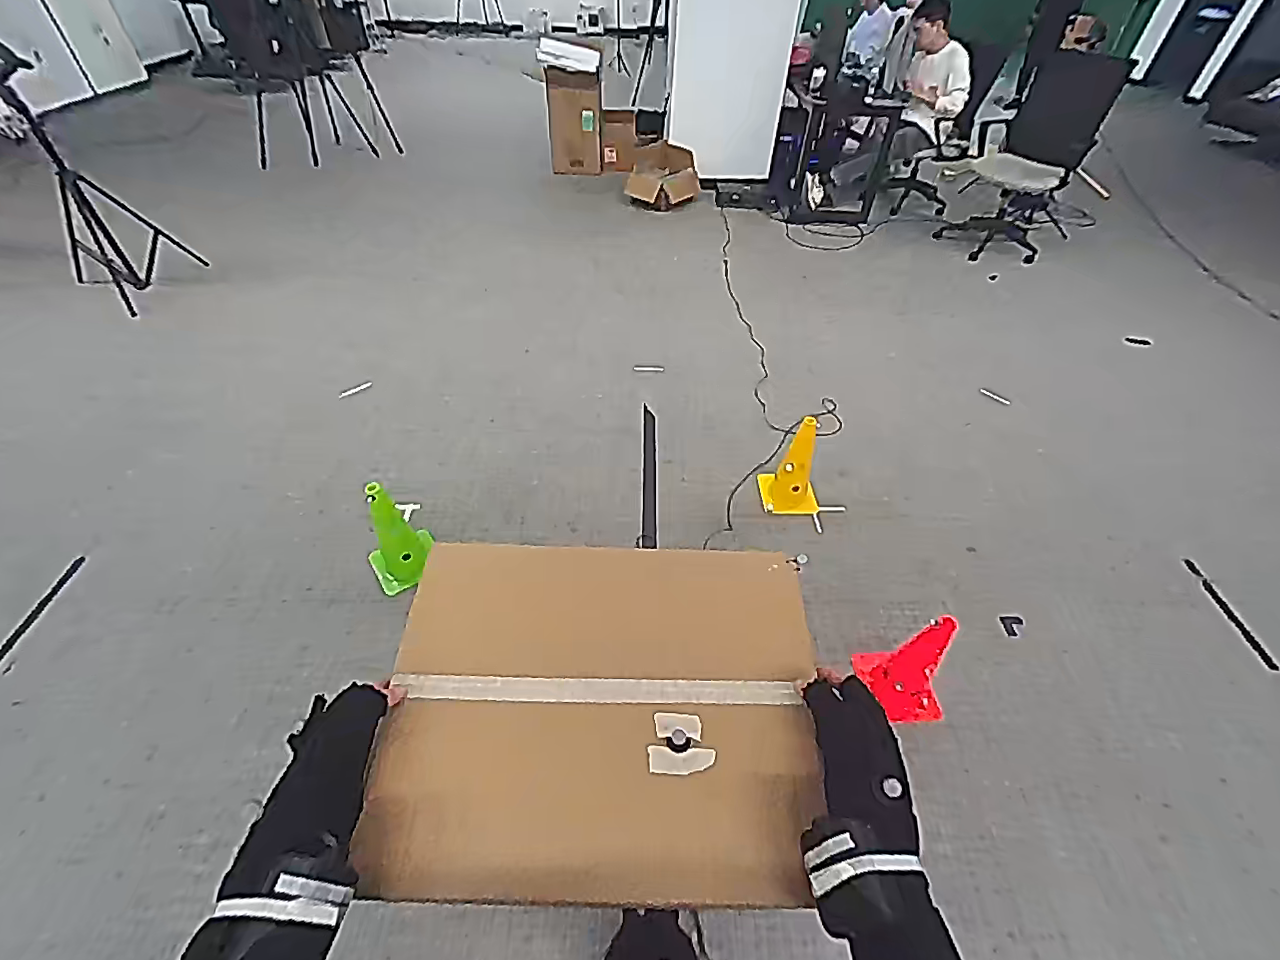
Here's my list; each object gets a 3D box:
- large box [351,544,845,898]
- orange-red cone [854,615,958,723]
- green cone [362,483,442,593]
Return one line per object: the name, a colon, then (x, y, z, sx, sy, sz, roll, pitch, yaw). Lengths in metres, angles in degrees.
large box: (-0.037, 0.290, 0.635, 0.408, 0.320, 0.320, 2, 51, -1)
orange-red cone: (0.723, 0.456, 1.394, 0.198, 0.360, 0.199, 0, 44, -3)
green cone: (-0.760, 0.141, 1.655, 0.202, 0.368, 0.200, -29, 52, -25)
